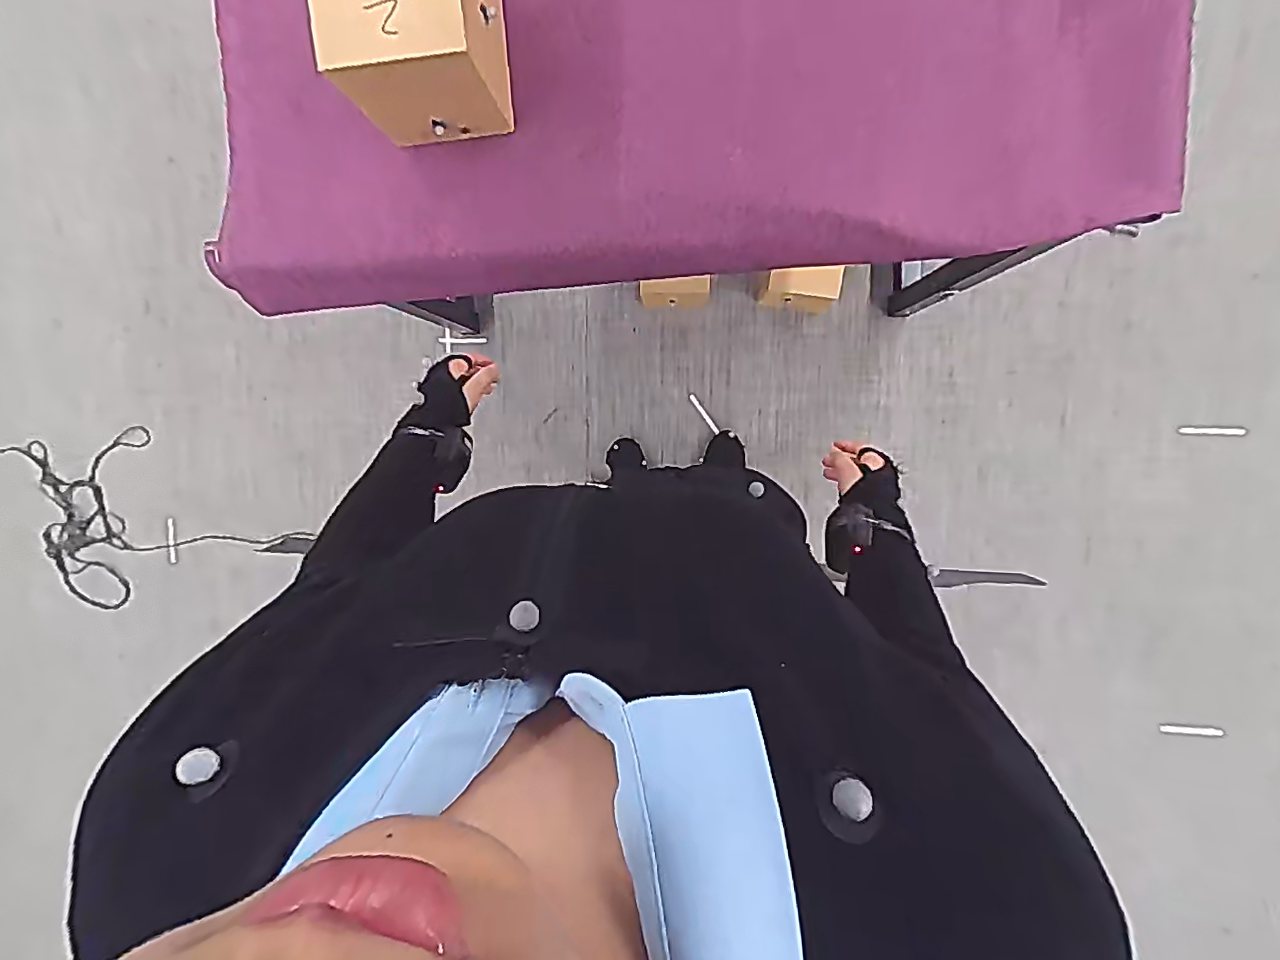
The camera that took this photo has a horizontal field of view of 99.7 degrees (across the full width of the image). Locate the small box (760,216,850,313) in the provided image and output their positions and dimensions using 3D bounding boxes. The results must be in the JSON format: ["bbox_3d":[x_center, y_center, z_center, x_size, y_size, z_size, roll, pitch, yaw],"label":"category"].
[{"bbox_3d":[0.396,-0.521,1.328,0.168,0.176,0.179,9,96,4],"label":"small box"}]

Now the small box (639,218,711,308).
[{"bbox_3d":[0.088,-0.533,1.348,0.168,0.176,0.179,2,96,4],"label":"small box"}]
